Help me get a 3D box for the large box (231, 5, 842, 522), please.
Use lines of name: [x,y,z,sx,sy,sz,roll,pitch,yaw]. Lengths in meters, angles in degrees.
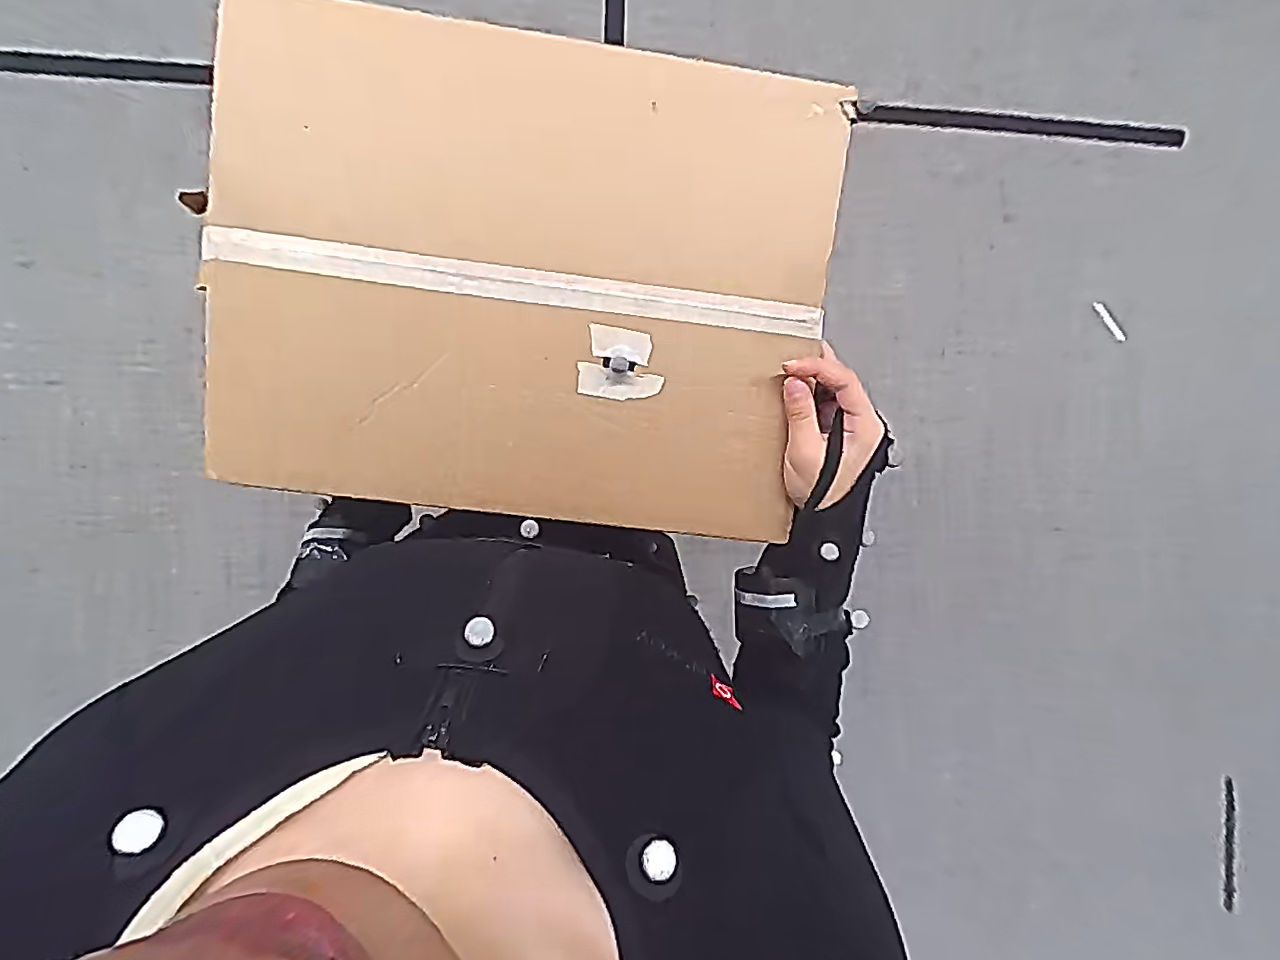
large box: [-0.082,-0.151,0.520,0.408,0.320,0.320,6,97,-5]
